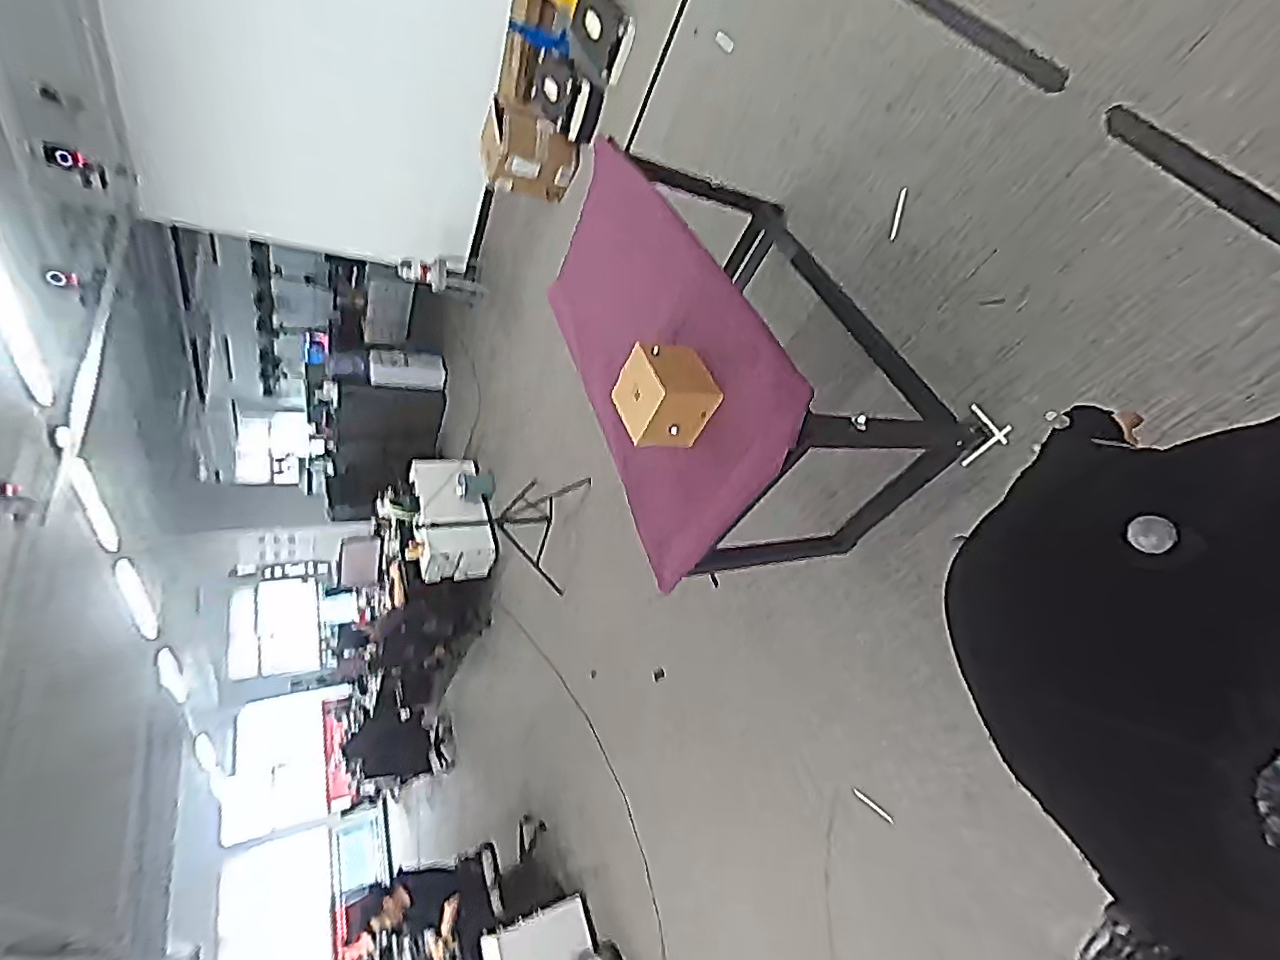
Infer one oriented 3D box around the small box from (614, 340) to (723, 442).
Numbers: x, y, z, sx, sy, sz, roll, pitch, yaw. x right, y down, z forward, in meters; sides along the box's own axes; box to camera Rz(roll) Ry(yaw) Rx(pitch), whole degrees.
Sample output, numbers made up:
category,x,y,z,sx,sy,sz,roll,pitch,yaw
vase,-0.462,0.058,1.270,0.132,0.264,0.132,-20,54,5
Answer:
category,x,y,z,sx,sy,sz,roll,pitch,yaw
small box,0.066,-0.206,1.272,0.168,0.176,0.179,-58,45,41
